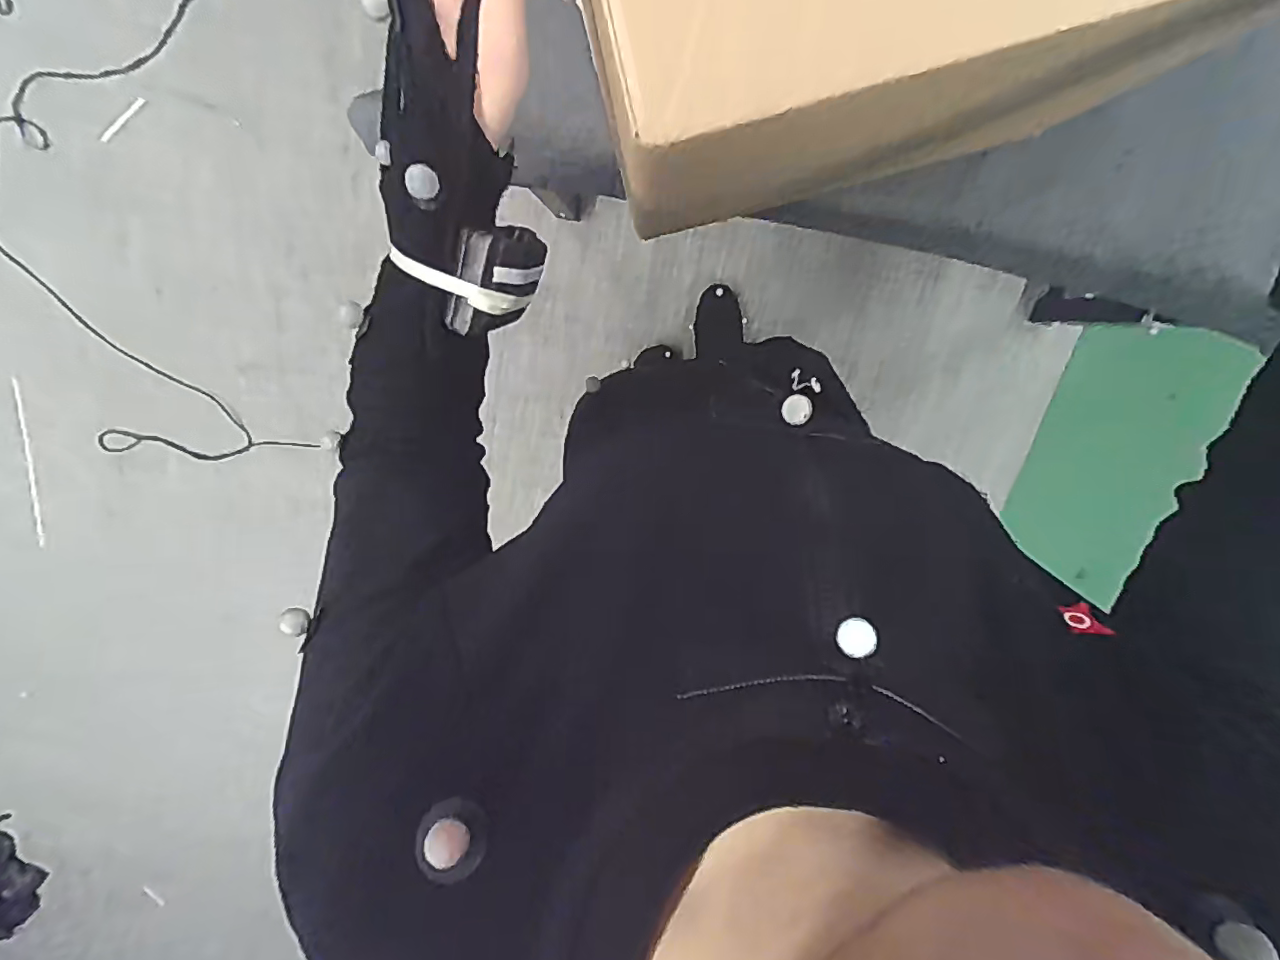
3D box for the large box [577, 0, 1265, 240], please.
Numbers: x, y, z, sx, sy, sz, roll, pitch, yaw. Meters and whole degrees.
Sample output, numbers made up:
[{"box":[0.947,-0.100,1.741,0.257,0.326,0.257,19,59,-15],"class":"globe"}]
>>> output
[{"box":[0.154,-0.397,0.363,0.408,0.320,0.320,-14,106,3],"class":"large box"}]
